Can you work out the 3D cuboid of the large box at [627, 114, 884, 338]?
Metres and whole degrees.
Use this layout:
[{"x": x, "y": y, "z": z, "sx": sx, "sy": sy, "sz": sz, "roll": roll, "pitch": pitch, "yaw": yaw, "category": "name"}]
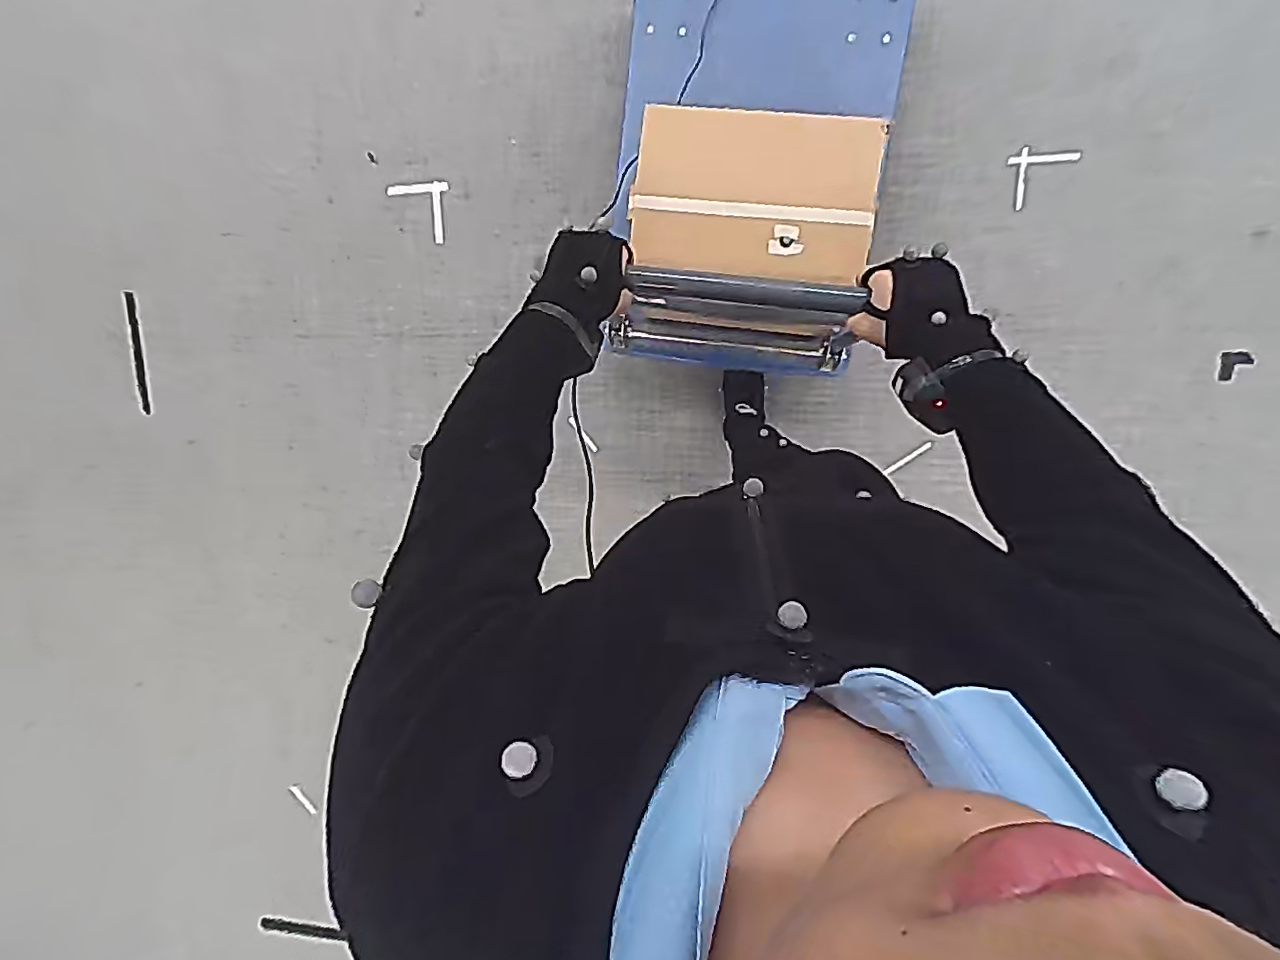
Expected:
[{"x": 0.201, "y": -0.468, "z": 1.064, "sx": 0.408, "sy": 0.320, "sz": 0.320, "roll": 7, "pitch": 100, "yaw": 5, "category": "large box"}]
